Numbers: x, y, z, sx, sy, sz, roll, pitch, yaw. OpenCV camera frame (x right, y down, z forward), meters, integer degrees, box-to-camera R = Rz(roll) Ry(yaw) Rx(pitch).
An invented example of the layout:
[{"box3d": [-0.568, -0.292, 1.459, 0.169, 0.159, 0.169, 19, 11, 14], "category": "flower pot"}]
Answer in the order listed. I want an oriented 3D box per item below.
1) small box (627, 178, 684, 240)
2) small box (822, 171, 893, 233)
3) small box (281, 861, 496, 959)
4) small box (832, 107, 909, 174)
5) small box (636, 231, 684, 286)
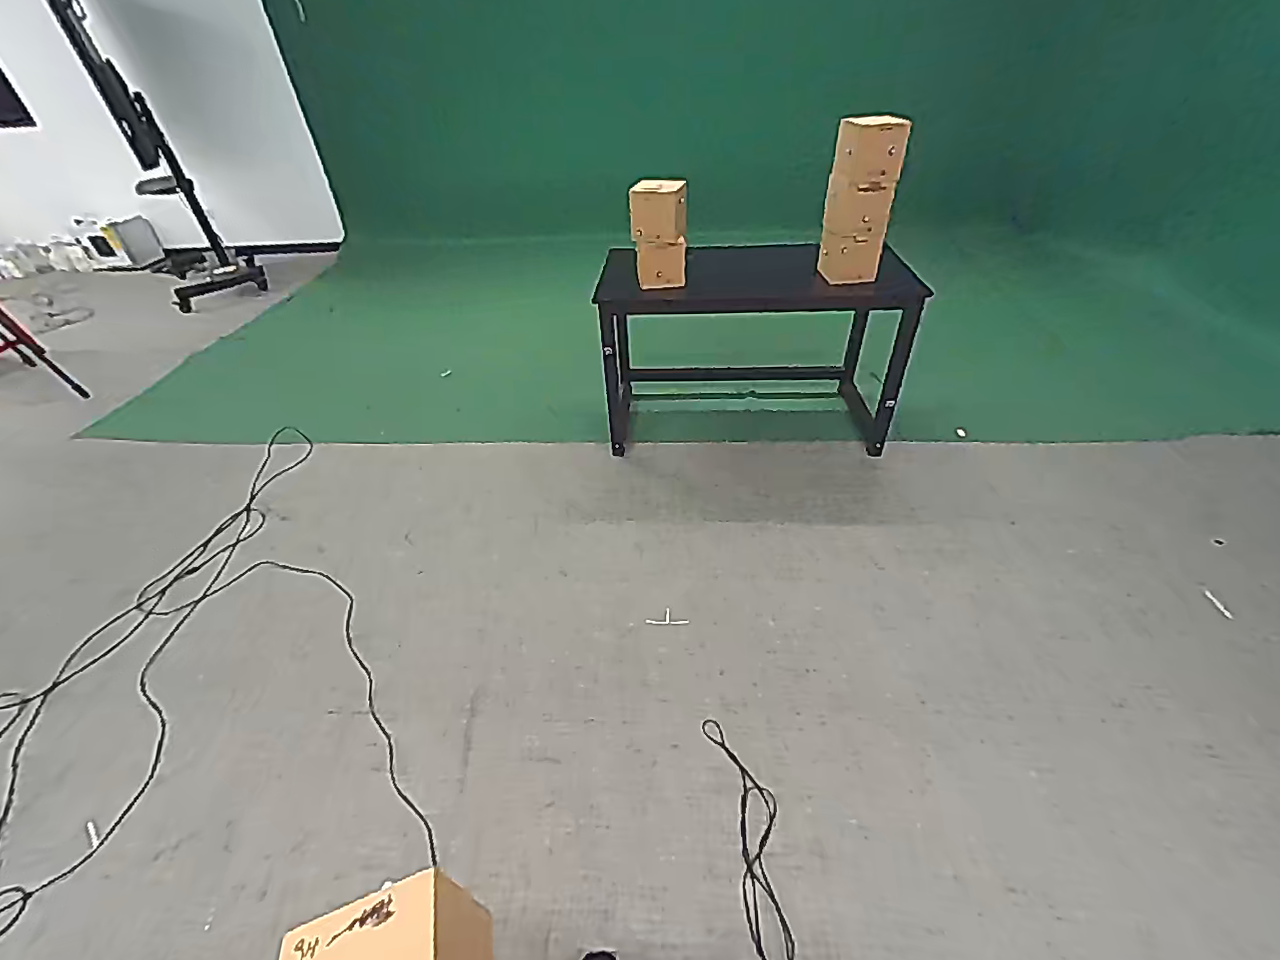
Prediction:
[{"box3d": [0.060, -0.978, 1.950, 0.168, 0.176, 0.179, 9, 41, 14], "category": "small box"}, {"box3d": [0.754, -0.977, 1.896, 0.168, 0.176, 0.179, -5, 39, -1], "category": "small box"}, {"box3d": [-0.255, 0.551, 0.567, 0.168, 0.176, 0.179, -21, 38, -7], "category": "small box"}, {"box3d": [0.752, -1.116, 1.781, 0.168, 0.176, 0.179, -5, 39, -2], "category": "small box"}, {"box3d": [0.071, -0.851, 2.055, 0.168, 0.176, 0.179, -5, 41, -3], "category": "small box"}]
